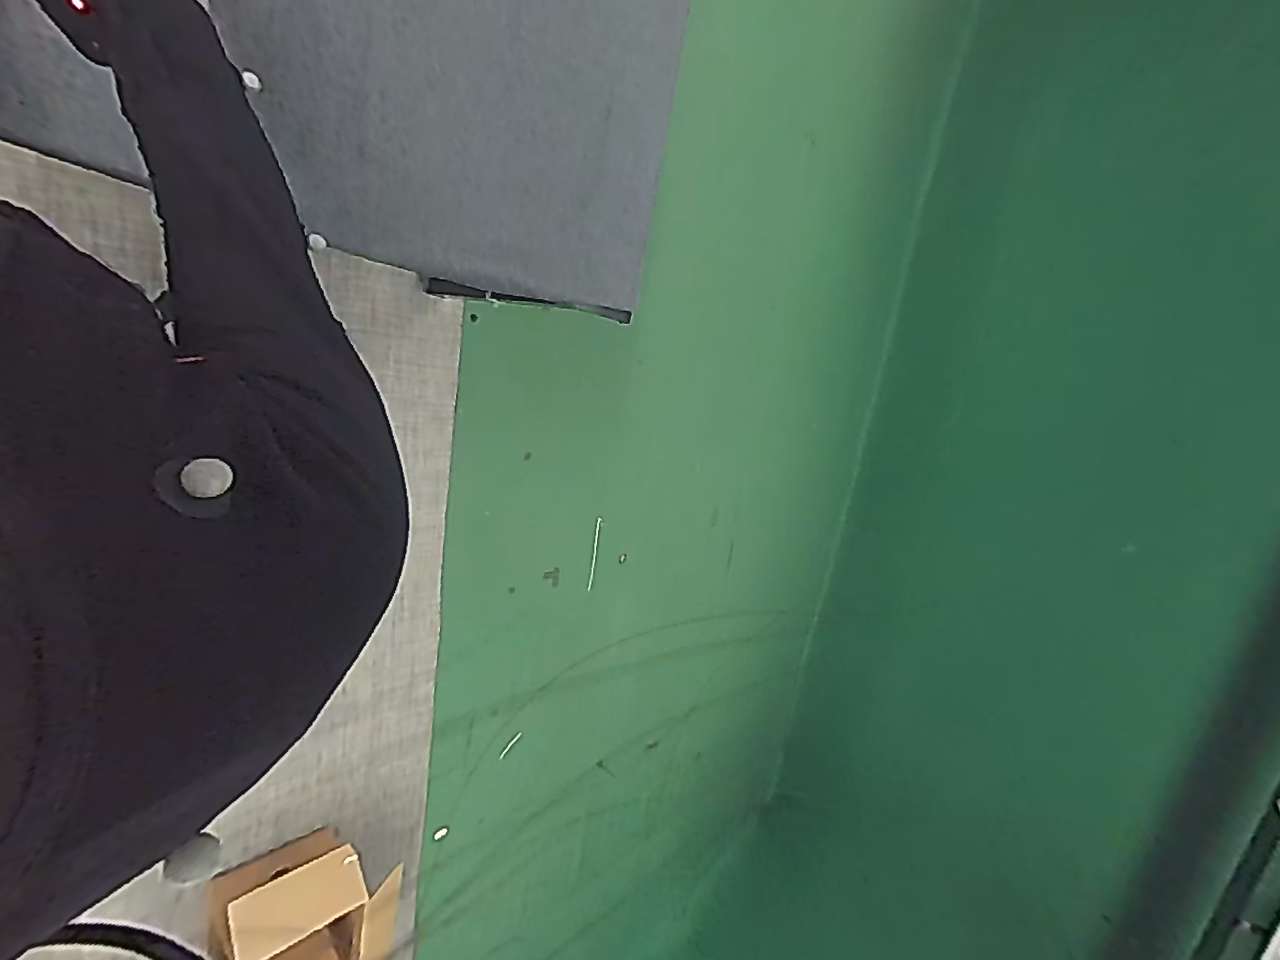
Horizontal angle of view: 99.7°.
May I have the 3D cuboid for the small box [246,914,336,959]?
[{"bbox_3d":[-0.931,1.318,1.425,0.179,0.176,0.168,1,105,-48],"label":"small box"}]
